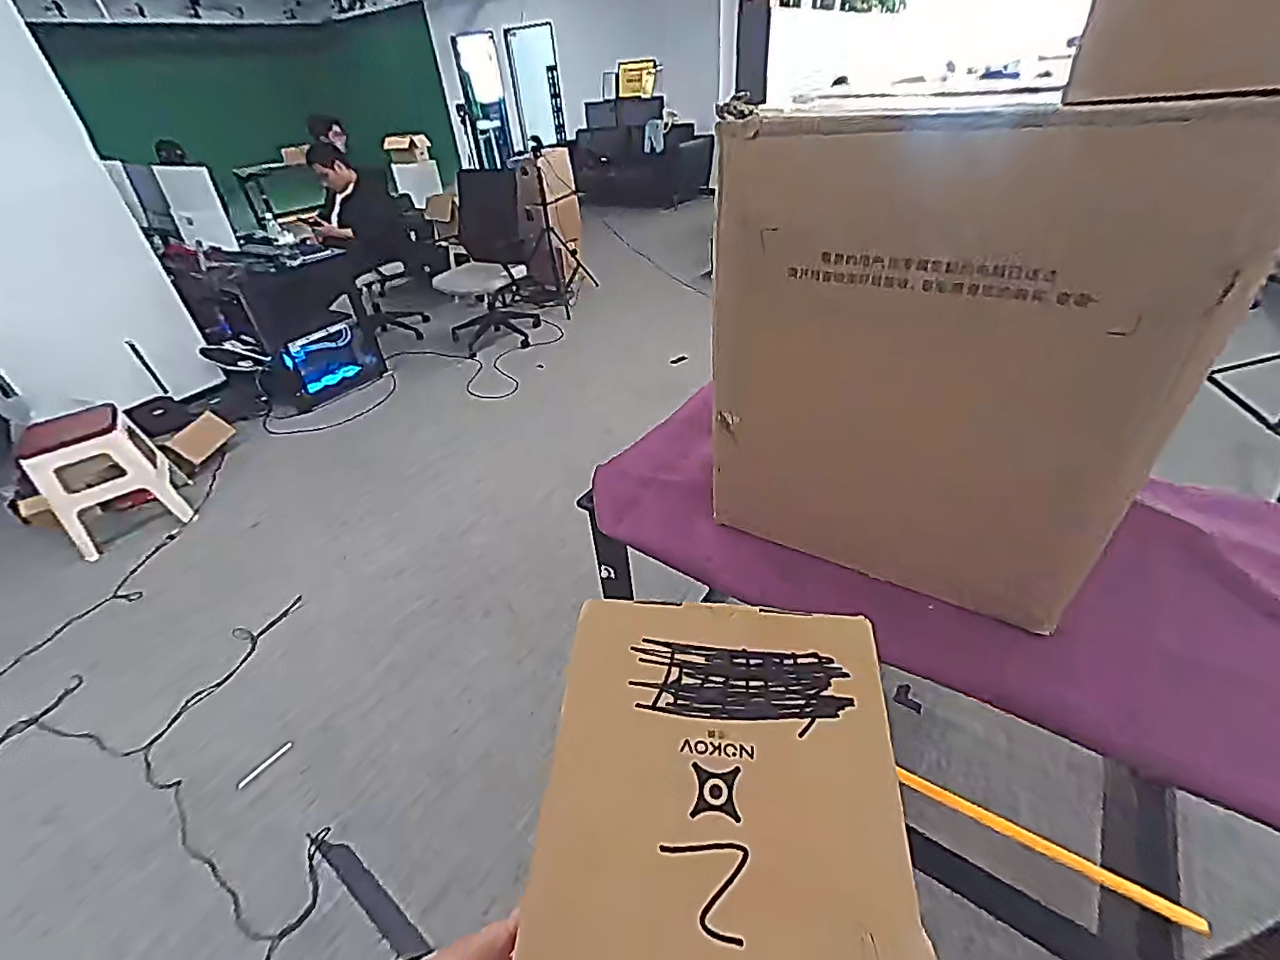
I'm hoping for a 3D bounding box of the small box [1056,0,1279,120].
[{"bbox_3d":[0.470,-0.405,0.439,0.168,0.176,0.179,20,43,31],"label":"small box"}]
